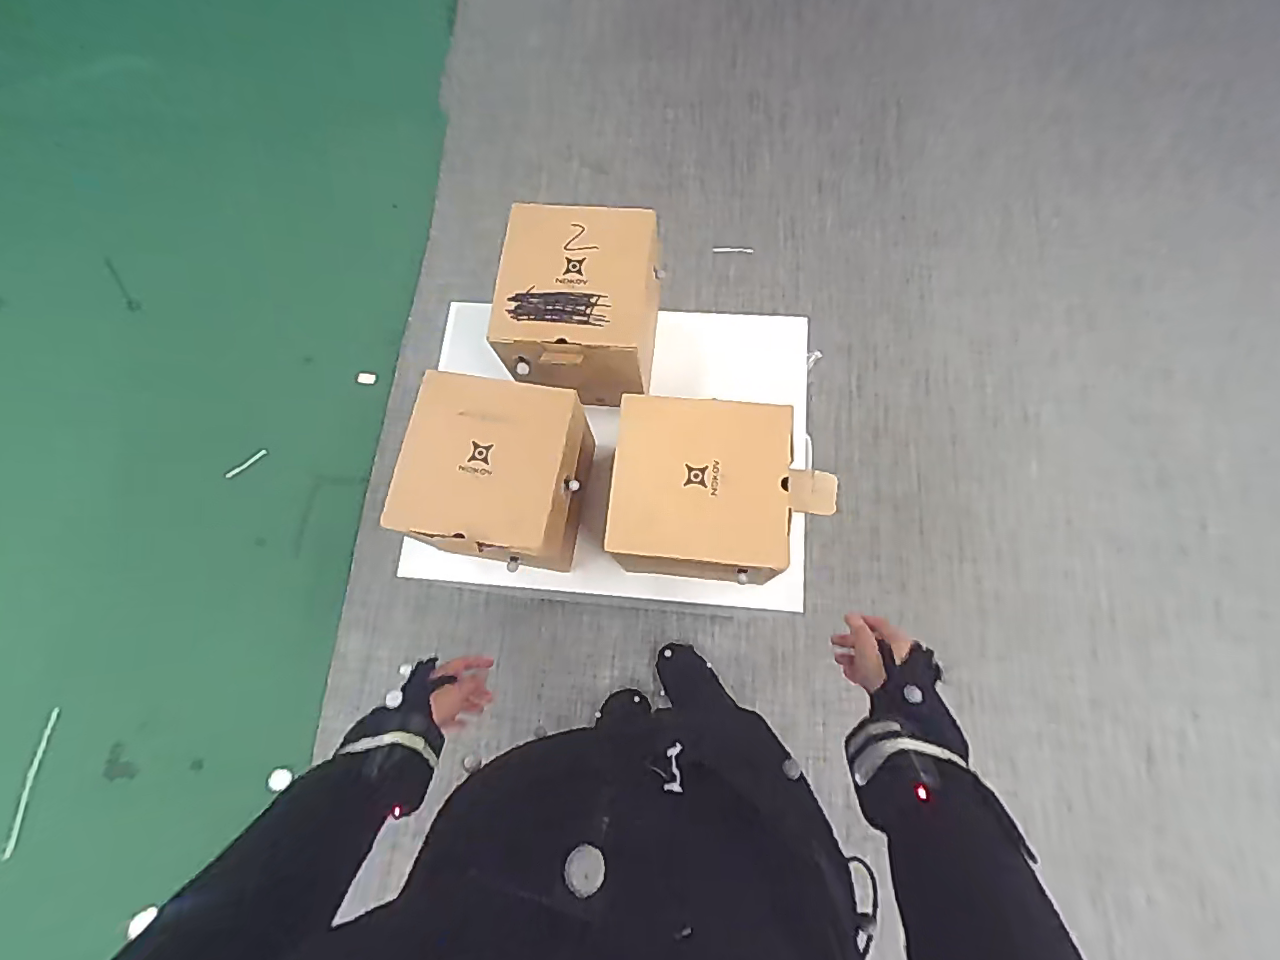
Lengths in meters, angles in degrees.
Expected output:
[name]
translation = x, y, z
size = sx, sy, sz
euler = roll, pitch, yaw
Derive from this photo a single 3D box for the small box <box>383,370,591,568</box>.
[small box]
translation = -0.156, -0.002, 0.622
size = 0.168, 0.176, 0.179
euler = 8, 74, 4
